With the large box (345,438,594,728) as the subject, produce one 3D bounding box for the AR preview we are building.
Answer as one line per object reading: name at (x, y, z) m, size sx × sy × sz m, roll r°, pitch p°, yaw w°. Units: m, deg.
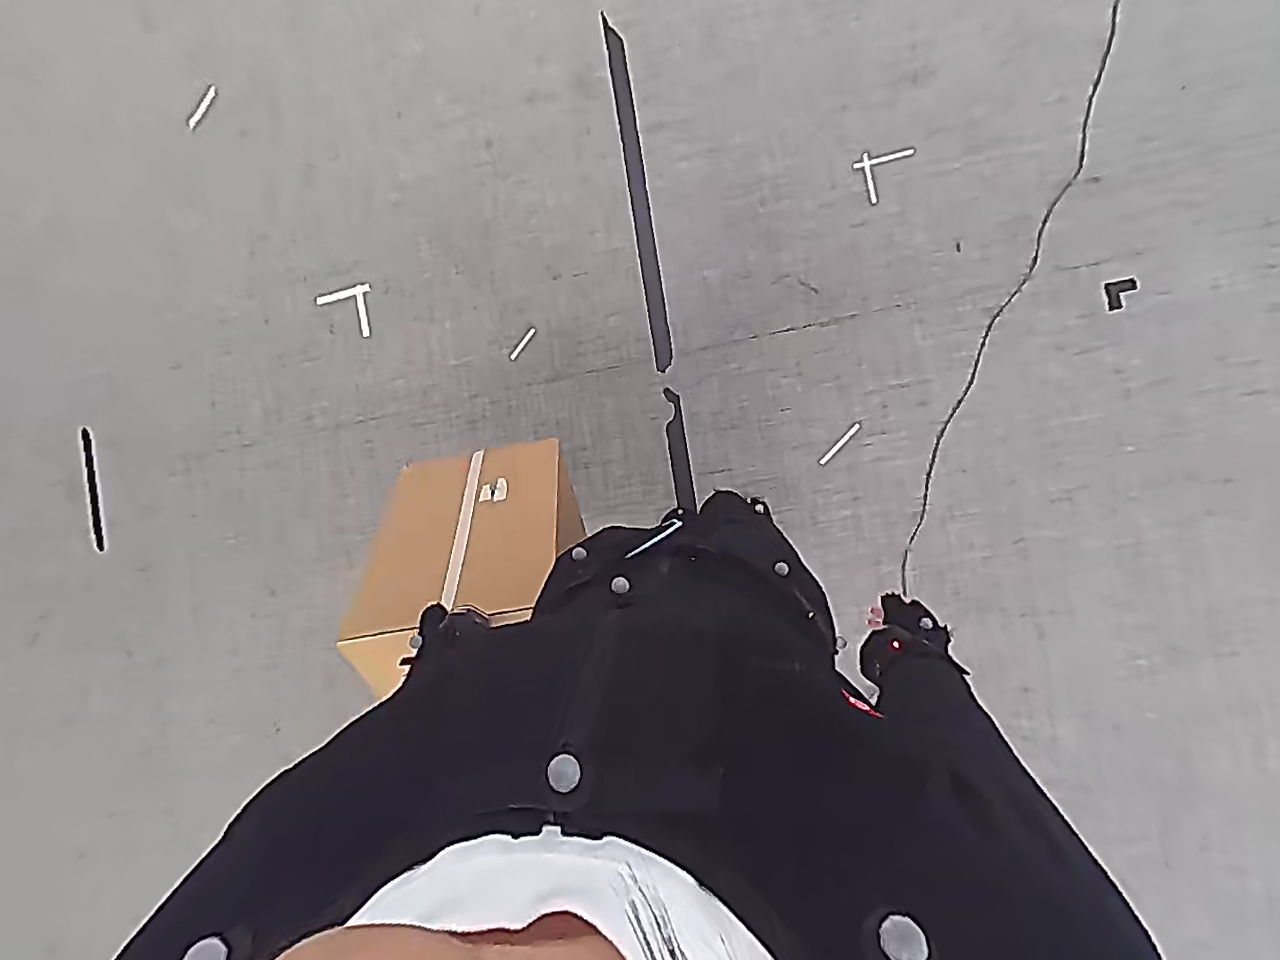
large box at (-0.272, 0.180, 1.011) m, size 0.320 × 0.408 × 0.320 m, roll -9°, pitch 130°, yaw 1°
